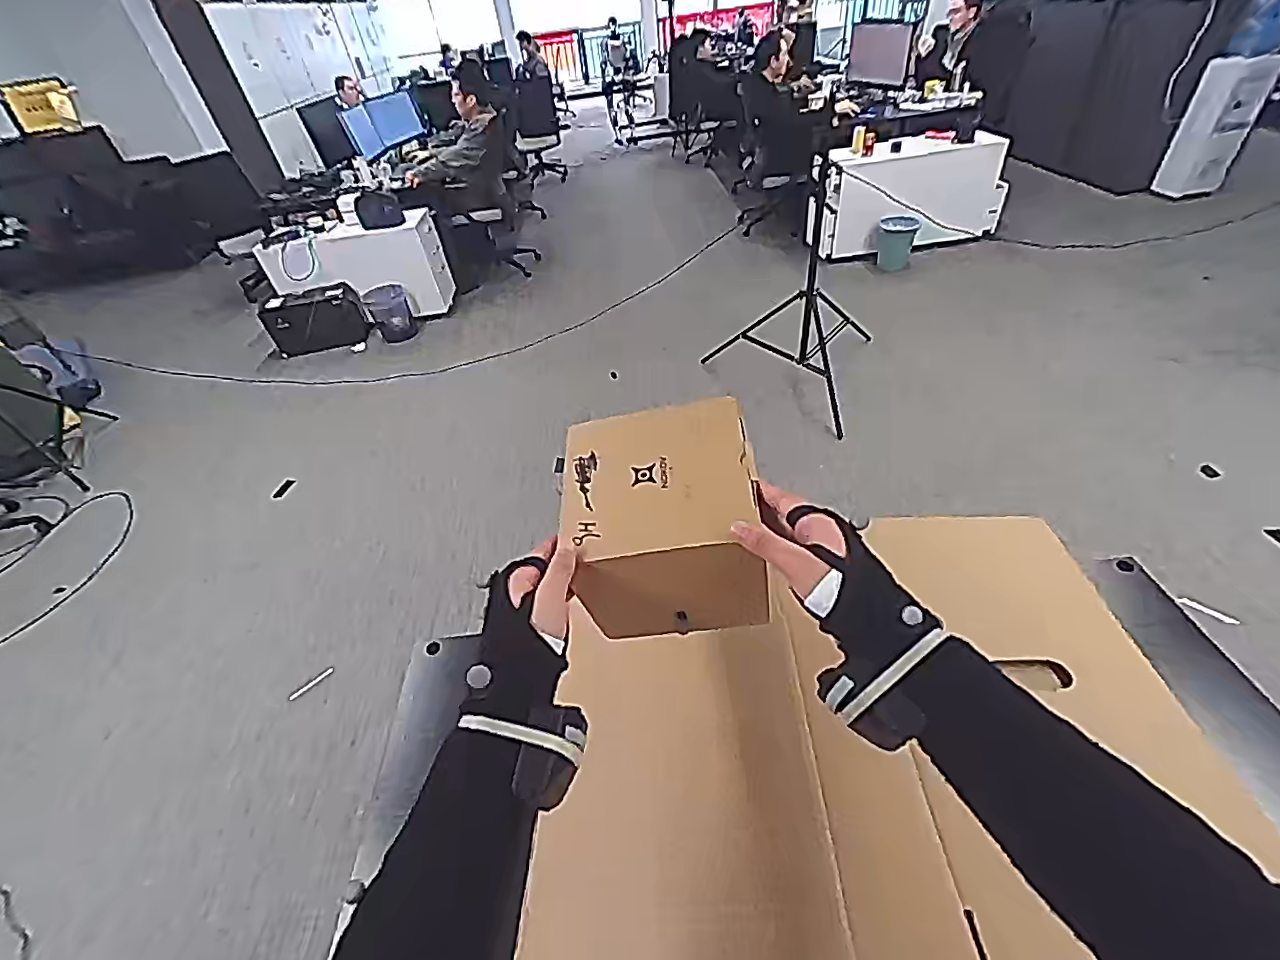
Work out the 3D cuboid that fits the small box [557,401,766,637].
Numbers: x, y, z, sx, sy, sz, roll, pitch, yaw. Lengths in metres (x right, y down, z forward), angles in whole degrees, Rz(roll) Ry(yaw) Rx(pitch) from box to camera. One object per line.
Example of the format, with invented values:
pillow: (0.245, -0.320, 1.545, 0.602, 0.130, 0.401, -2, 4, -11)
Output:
small box: (0.029, 0.046, 0.551, 0.179, 0.176, 0.168, -8, 50, 8)
